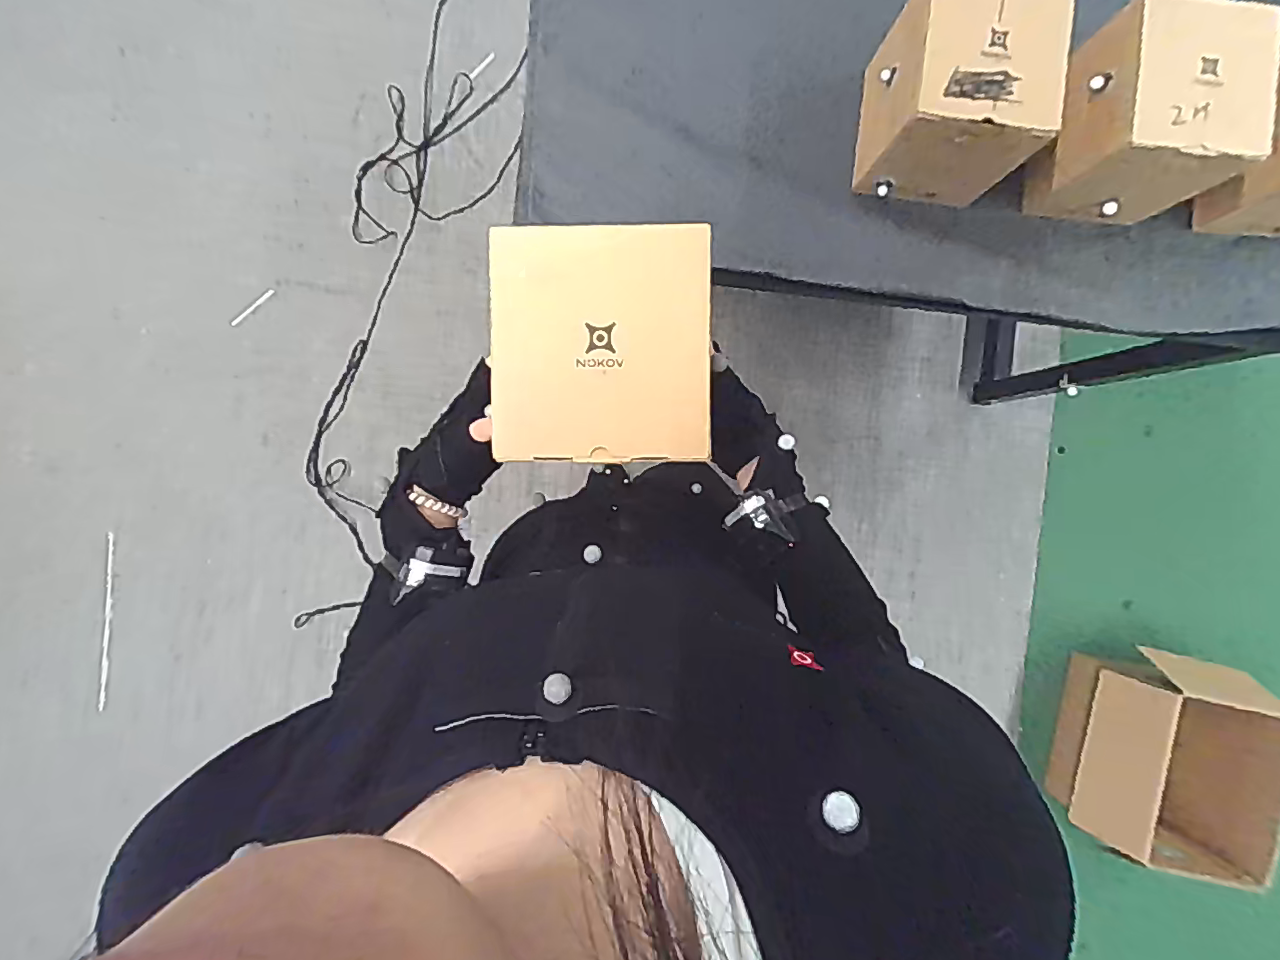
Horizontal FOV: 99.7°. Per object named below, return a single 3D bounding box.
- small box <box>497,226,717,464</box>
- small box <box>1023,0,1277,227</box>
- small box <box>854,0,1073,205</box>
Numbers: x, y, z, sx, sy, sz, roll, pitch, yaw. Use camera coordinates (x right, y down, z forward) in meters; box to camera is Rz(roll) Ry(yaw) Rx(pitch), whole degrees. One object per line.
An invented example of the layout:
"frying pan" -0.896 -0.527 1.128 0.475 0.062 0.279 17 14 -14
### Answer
"small box" -0.025 -0.103 0.481 0.168 0.176 0.179 0 94 1
"small box" 0.630 -0.454 0.688 0.168 0.176 0.179 5 90 -2
"small box" 0.388 -0.475 0.678 0.168 0.176 0.179 7 89 -3
